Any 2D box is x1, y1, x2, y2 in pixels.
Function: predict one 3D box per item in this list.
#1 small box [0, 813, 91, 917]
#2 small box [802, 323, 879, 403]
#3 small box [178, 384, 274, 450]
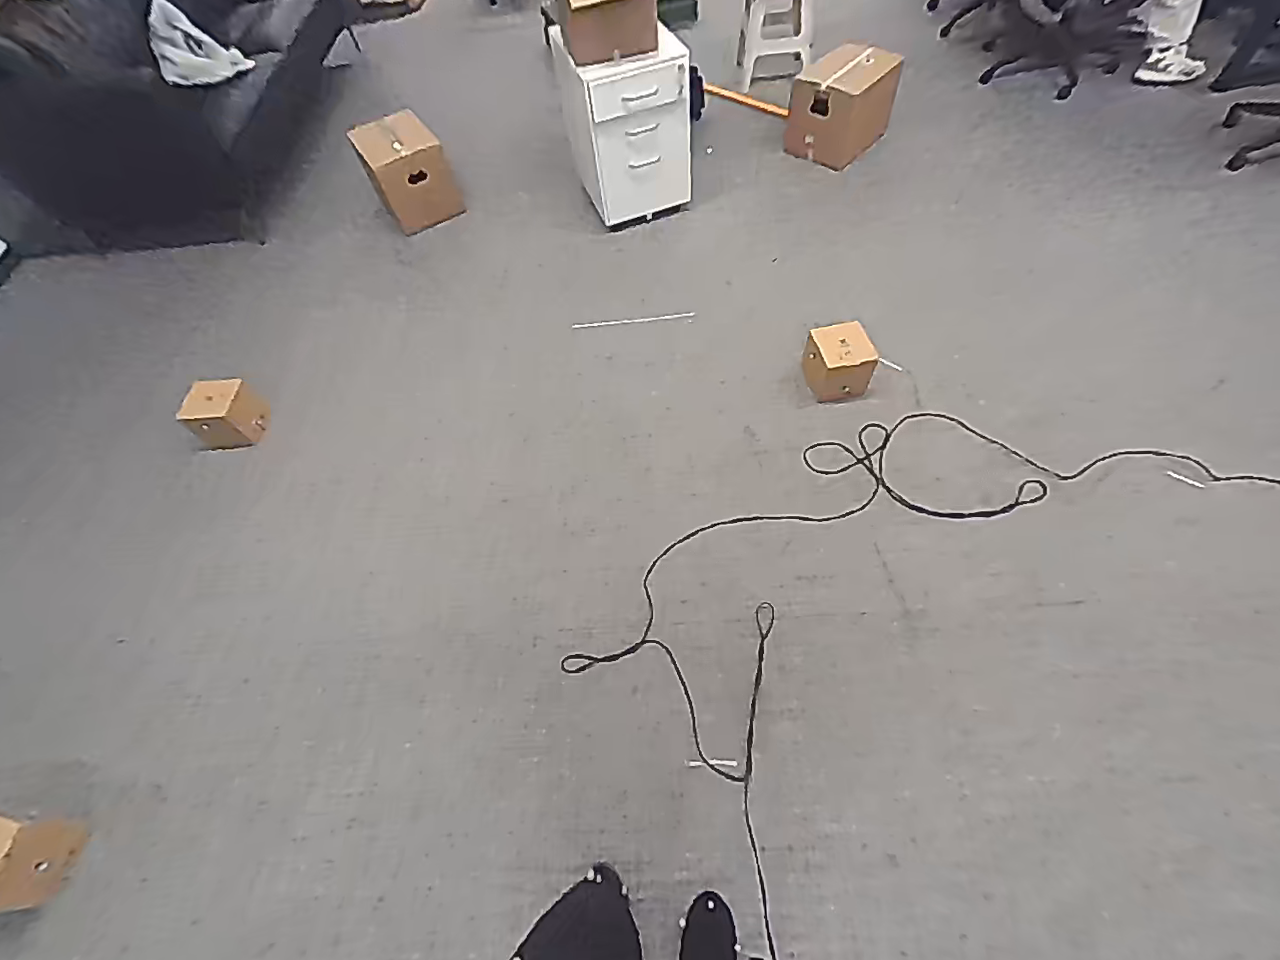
[{"bbox_3d":[-1.430,0.865,1.223,0.179,0.176,0.168,7,59,10],"label":"small box"},{"bbox_3d":[0.644,-0.380,1.763,0.168,0.176,0.179,-12,58,-1],"label":"small box"},{"bbox_3d":[-1.454,-0.218,1.911,0.179,0.176,0.168,-3,59,3],"label":"small box"}]
